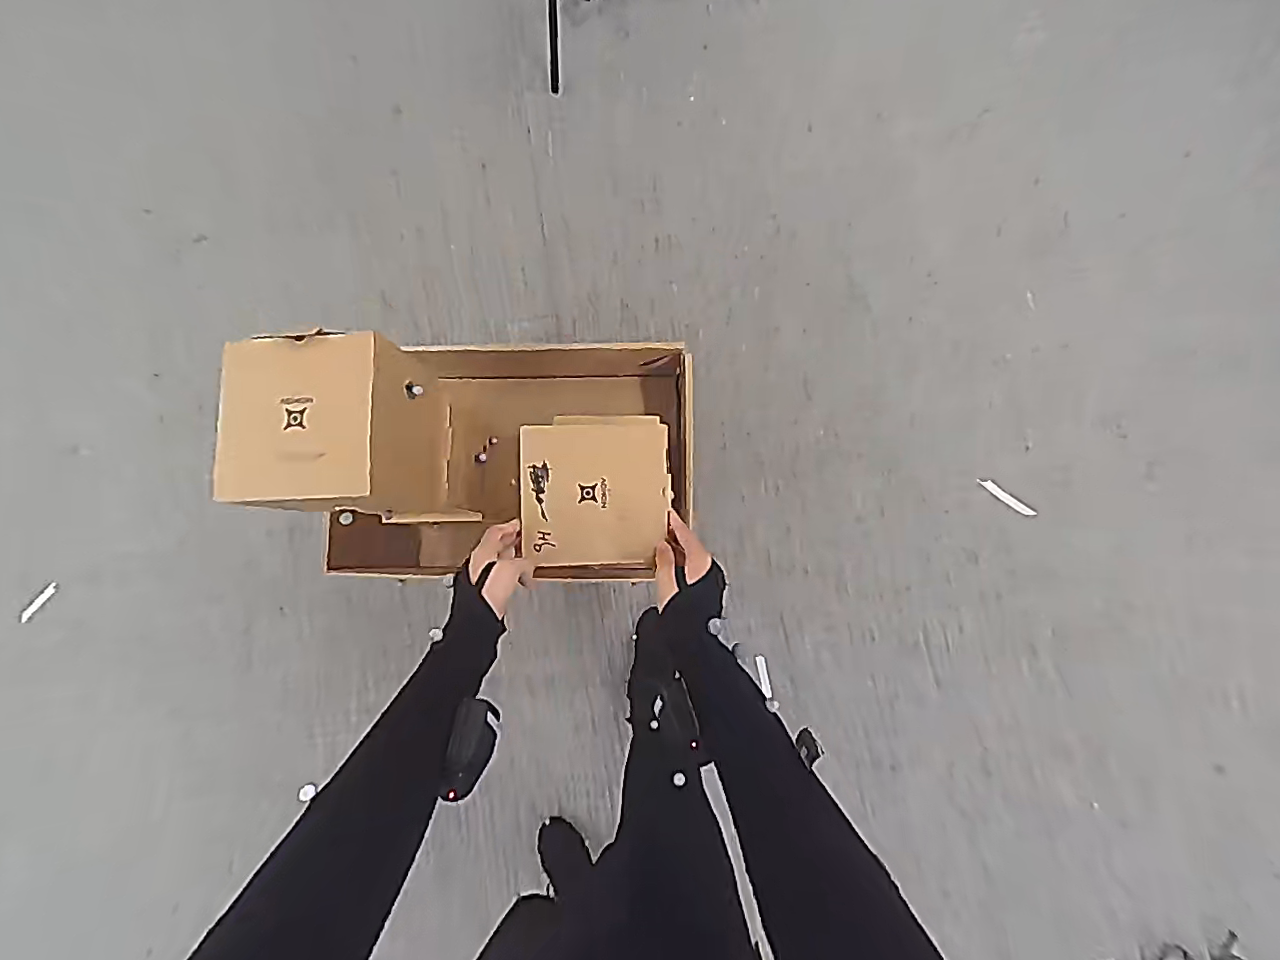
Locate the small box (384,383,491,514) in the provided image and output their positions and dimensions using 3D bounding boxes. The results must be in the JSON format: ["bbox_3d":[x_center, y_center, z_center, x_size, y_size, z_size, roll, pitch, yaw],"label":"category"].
[{"bbox_3d":[-0.332,-0.038,0.786,0.179,0.176,0.168,0,83,2],"label":"small box"}]

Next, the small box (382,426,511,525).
[{"bbox_3d":[-0.329,-0.010,0.949,0.168,0.176,0.179,-1,83,1],"label":"small box"}]

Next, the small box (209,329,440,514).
[{"bbox_3d":[-0.344,-0.057,0.624,0.168,0.176,0.179,-2,82,3],"label":"small box"}]

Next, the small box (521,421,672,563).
[{"bbox_3d":[-0.057,0.018,0.708,0.179,0.176,0.168,0,86,-4],"label":"small box"}]
